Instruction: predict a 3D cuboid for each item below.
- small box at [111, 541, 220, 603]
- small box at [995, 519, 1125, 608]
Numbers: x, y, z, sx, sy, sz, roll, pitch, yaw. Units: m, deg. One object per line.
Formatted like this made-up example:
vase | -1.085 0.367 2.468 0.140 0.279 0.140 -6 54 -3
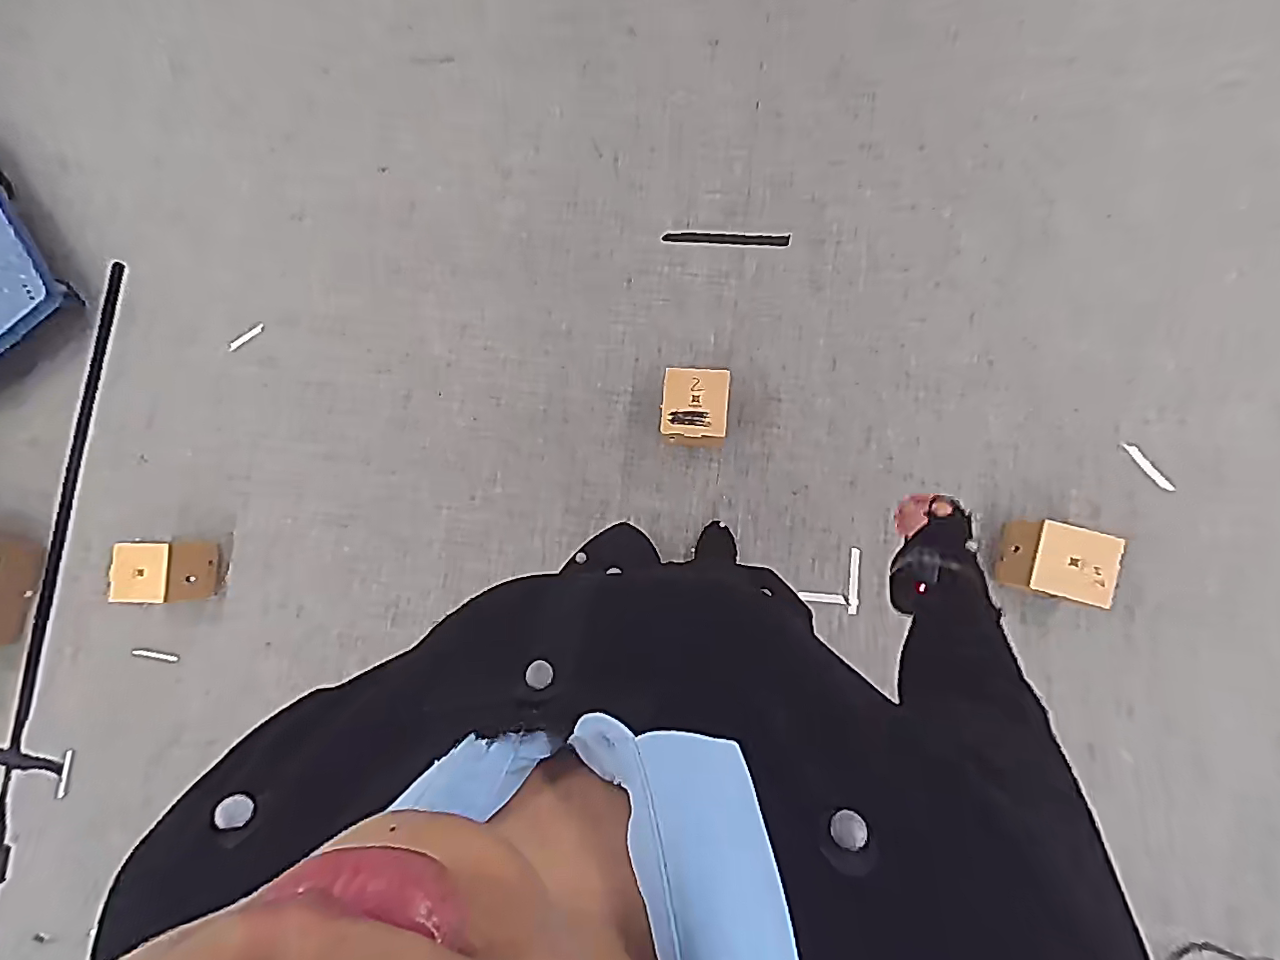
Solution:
small box | -1.376 0.263 1.578 0.179 0.176 0.168 -1 84 7
small box | 1.003 0.198 1.308 0.179 0.176 0.168 16 87 8
